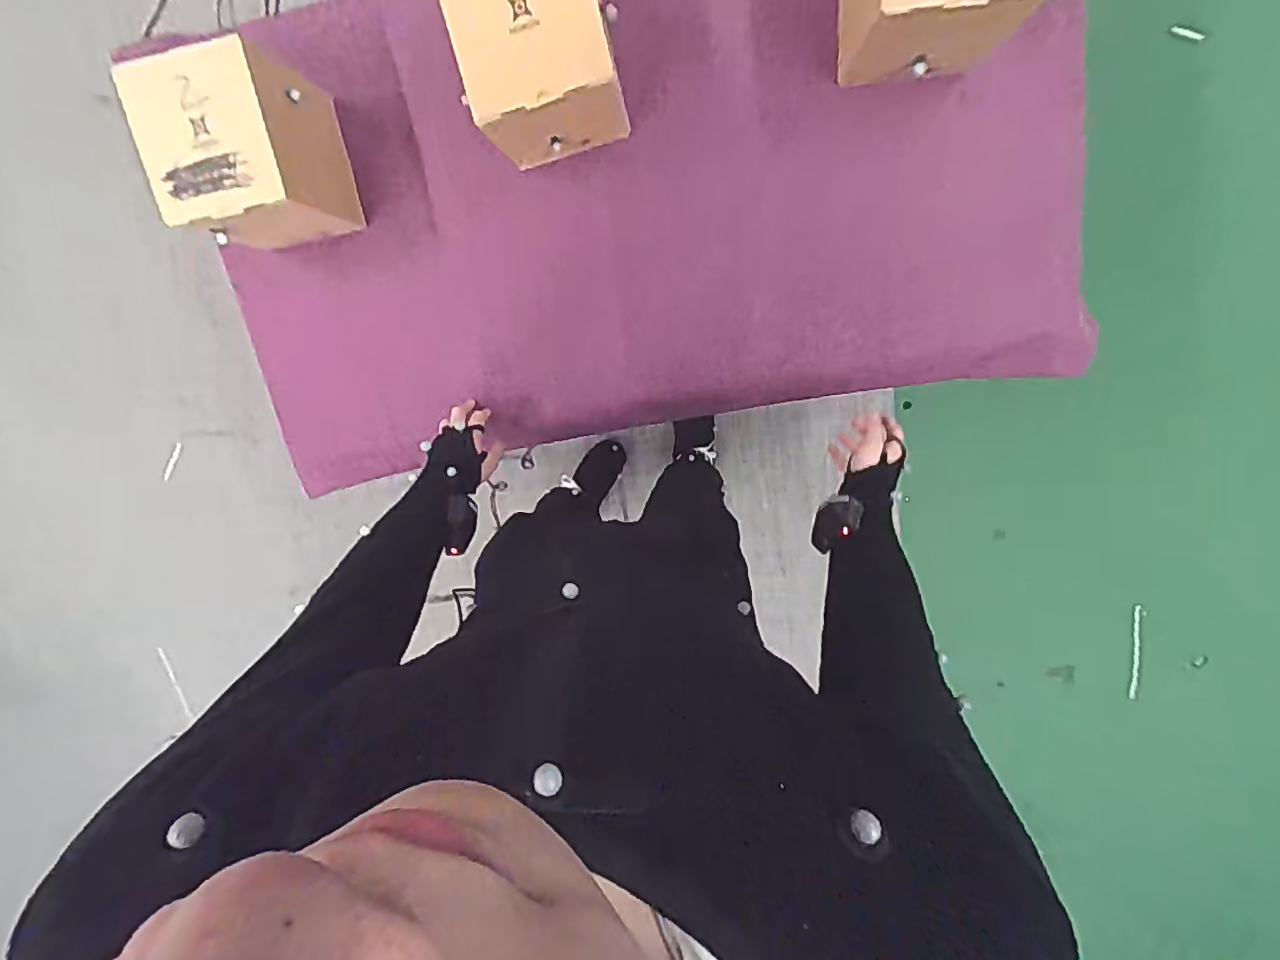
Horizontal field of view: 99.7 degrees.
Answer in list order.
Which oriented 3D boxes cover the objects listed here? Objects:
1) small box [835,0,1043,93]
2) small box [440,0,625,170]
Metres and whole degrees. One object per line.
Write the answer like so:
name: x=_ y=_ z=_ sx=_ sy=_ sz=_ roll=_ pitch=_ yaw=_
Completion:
small box: x=0.323 y=-0.575 z=0.605 sx=0.168 sy=0.176 sz=0.179 roll=-3 pitch=105 yaw=6
small box: x=-0.121 y=-0.512 z=0.655 sx=0.168 sy=0.176 sz=0.179 roll=-14 pitch=104 yaw=7
